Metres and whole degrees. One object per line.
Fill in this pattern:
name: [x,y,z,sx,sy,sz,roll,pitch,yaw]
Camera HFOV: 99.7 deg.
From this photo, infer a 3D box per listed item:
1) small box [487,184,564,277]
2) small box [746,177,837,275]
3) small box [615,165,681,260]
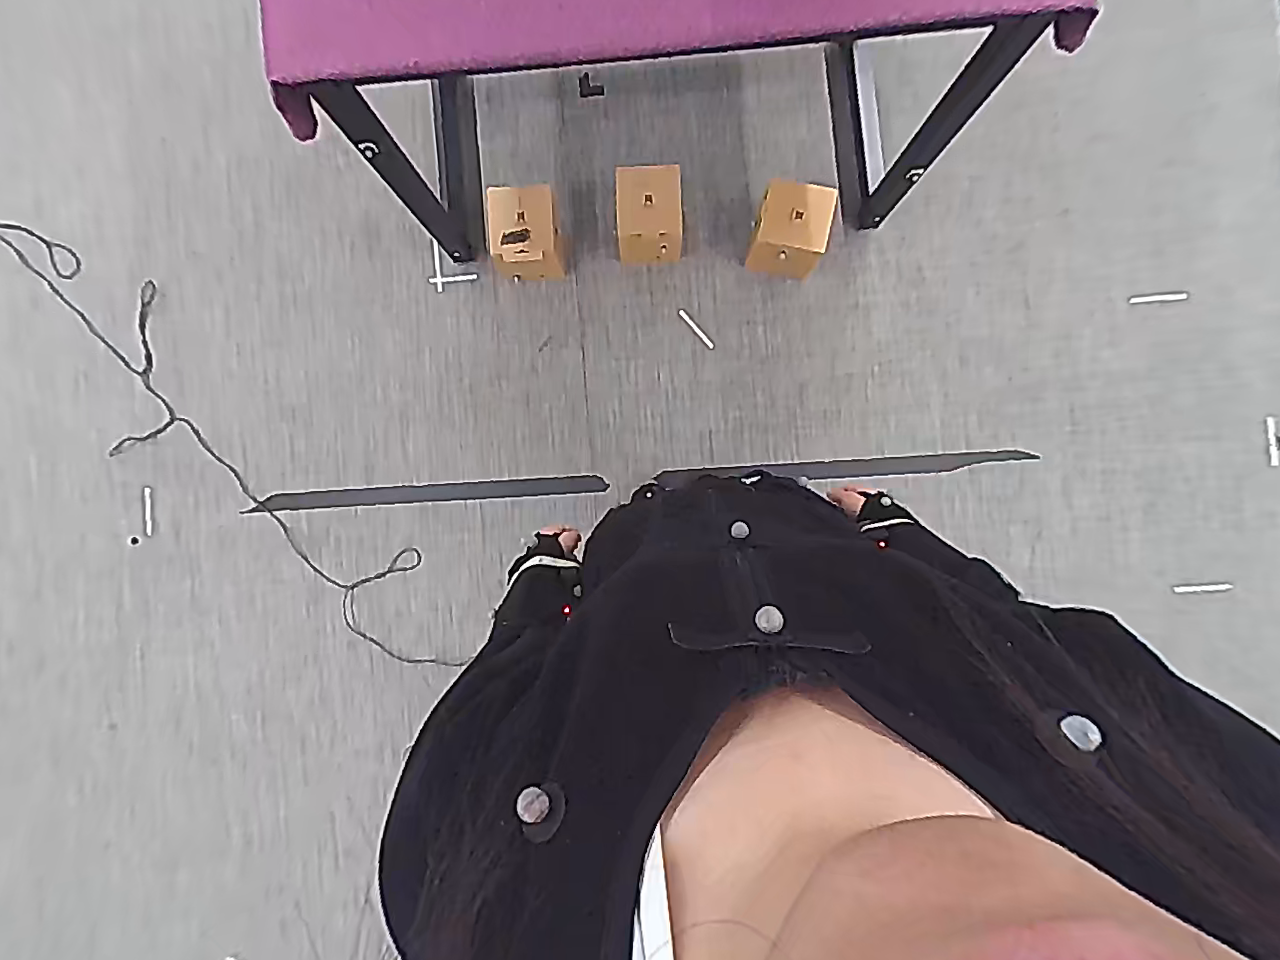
small box: [-0.299,-0.653,1.440,0.168,0.176,0.179,-3,88,1]
small box: [0.392,-0.661,1.430,0.179,0.176,0.168,13,90,3]
small box: [0.021,-0.700,1.437,0.168,0.176,0.179,-3,88,0]
